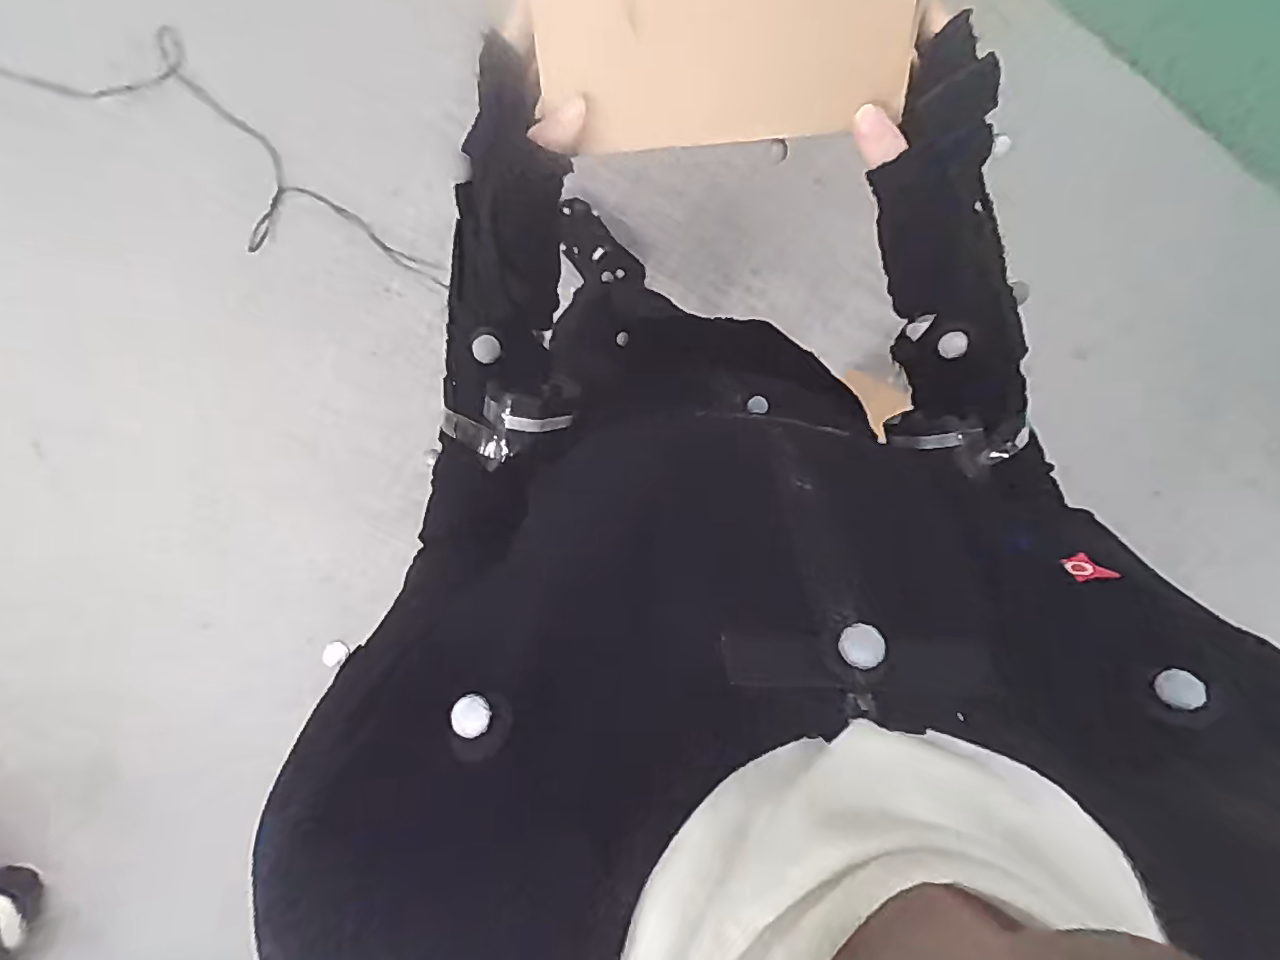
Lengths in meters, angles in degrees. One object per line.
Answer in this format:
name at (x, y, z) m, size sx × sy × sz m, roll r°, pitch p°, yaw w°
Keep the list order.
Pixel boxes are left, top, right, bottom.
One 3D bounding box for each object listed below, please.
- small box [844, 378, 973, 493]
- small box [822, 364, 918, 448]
small box at (0.587, -0.104, 1.214) m, size 0.168 × 0.176 × 0.179 m, roll 21°, pitch 113°, yaw -12°
small box at (0.583, -0.171, 1.363) m, size 0.168 × 0.176 × 0.179 m, roll 16°, pitch 114°, yaw -10°
